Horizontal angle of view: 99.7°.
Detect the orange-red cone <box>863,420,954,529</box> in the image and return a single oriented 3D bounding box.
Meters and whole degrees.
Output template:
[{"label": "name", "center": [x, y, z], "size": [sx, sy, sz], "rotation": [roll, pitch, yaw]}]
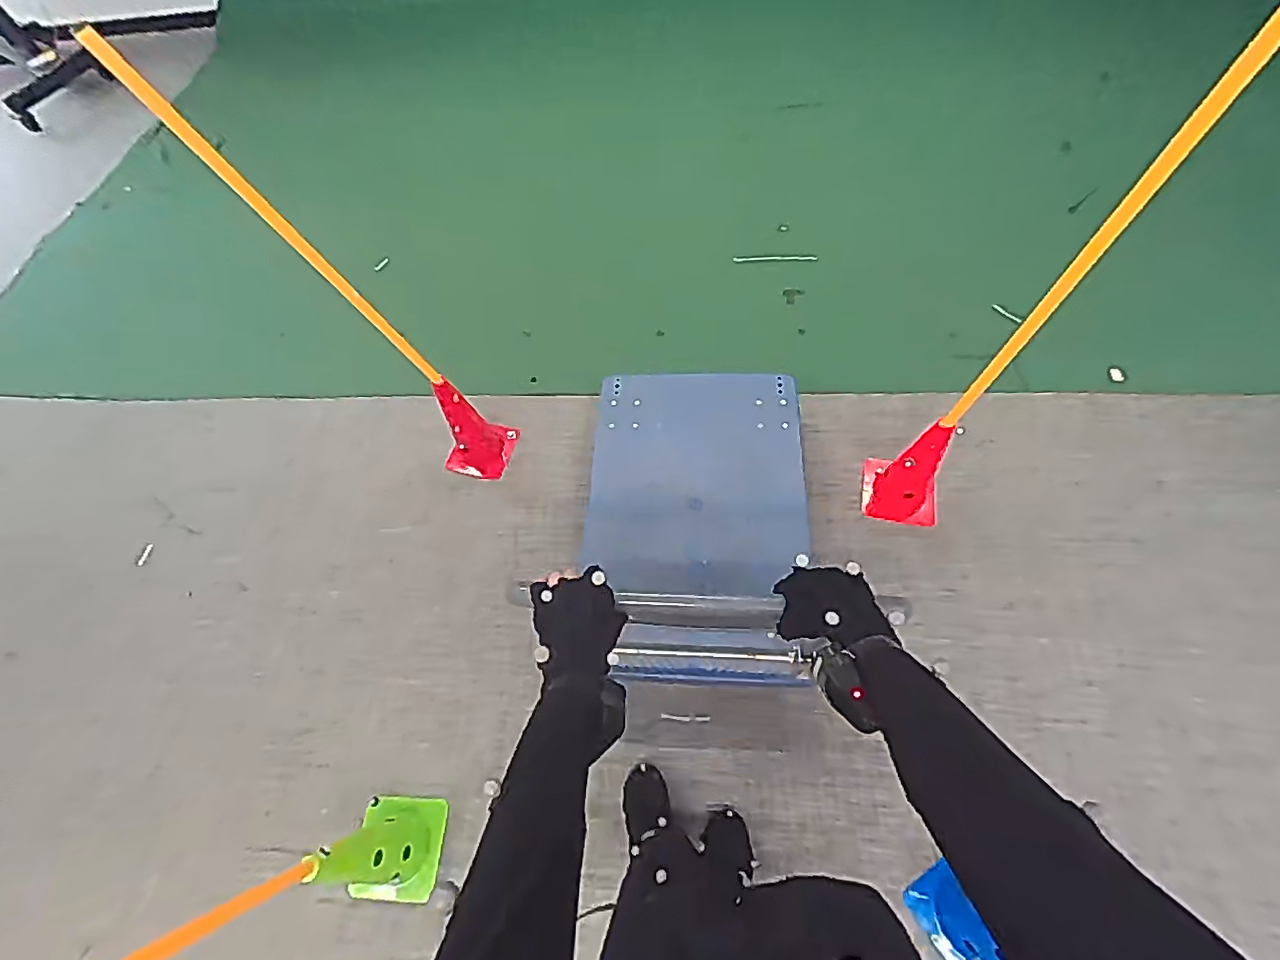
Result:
[{"label": "orange-red cone", "center": [0.739, -0.040, 1.423], "size": [0.198, 0.360, 0.199], "rotation": [10, 63, 12]}]
